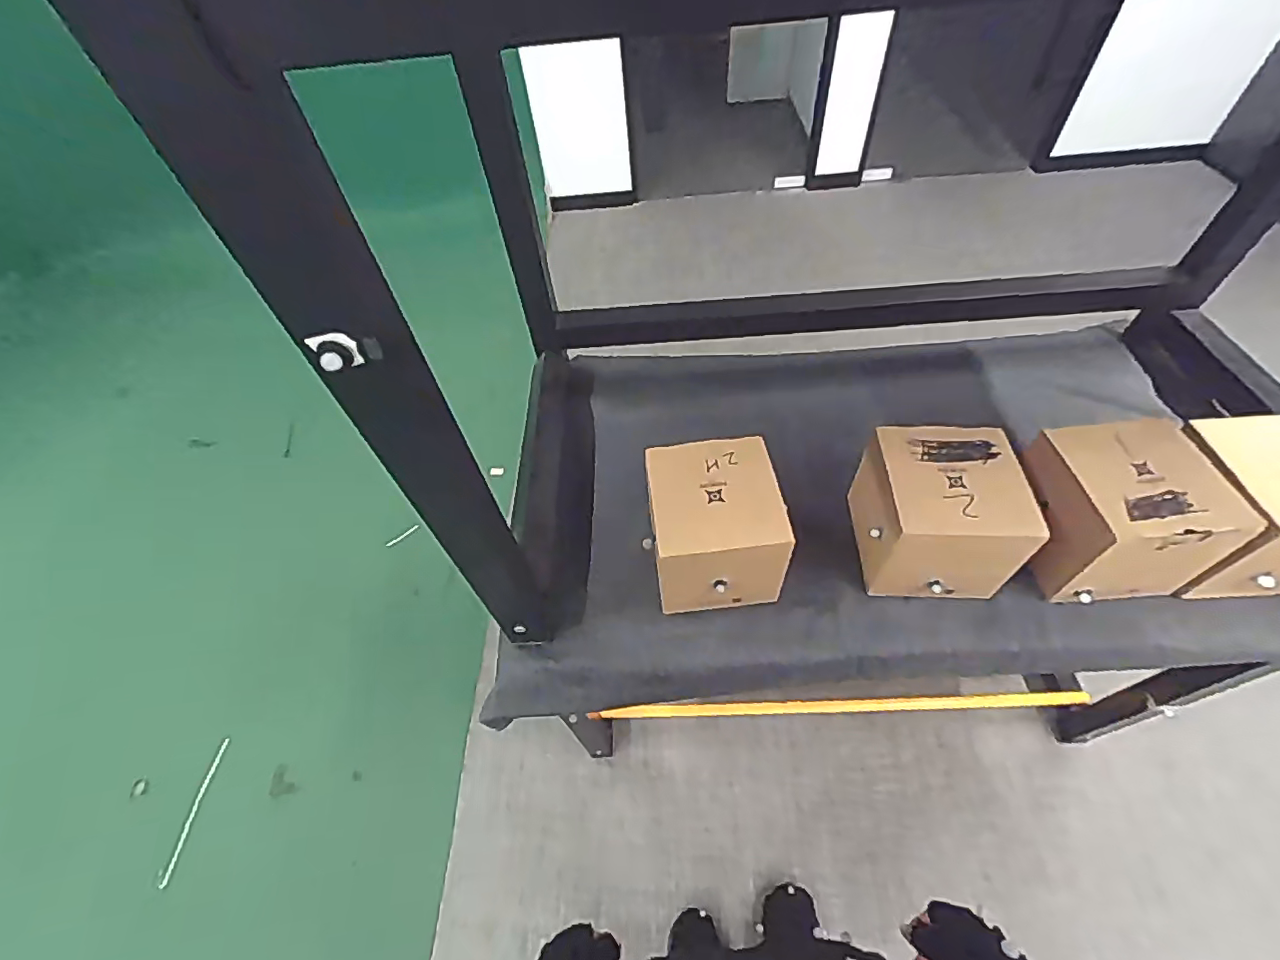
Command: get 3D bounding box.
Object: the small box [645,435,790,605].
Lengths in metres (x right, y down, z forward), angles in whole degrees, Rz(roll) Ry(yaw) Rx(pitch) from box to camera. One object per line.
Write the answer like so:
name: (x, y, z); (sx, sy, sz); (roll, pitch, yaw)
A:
small box: (0.099, 0.063, 0.756); (0.168, 0.176, 0.179); (-6, 51, 0)
